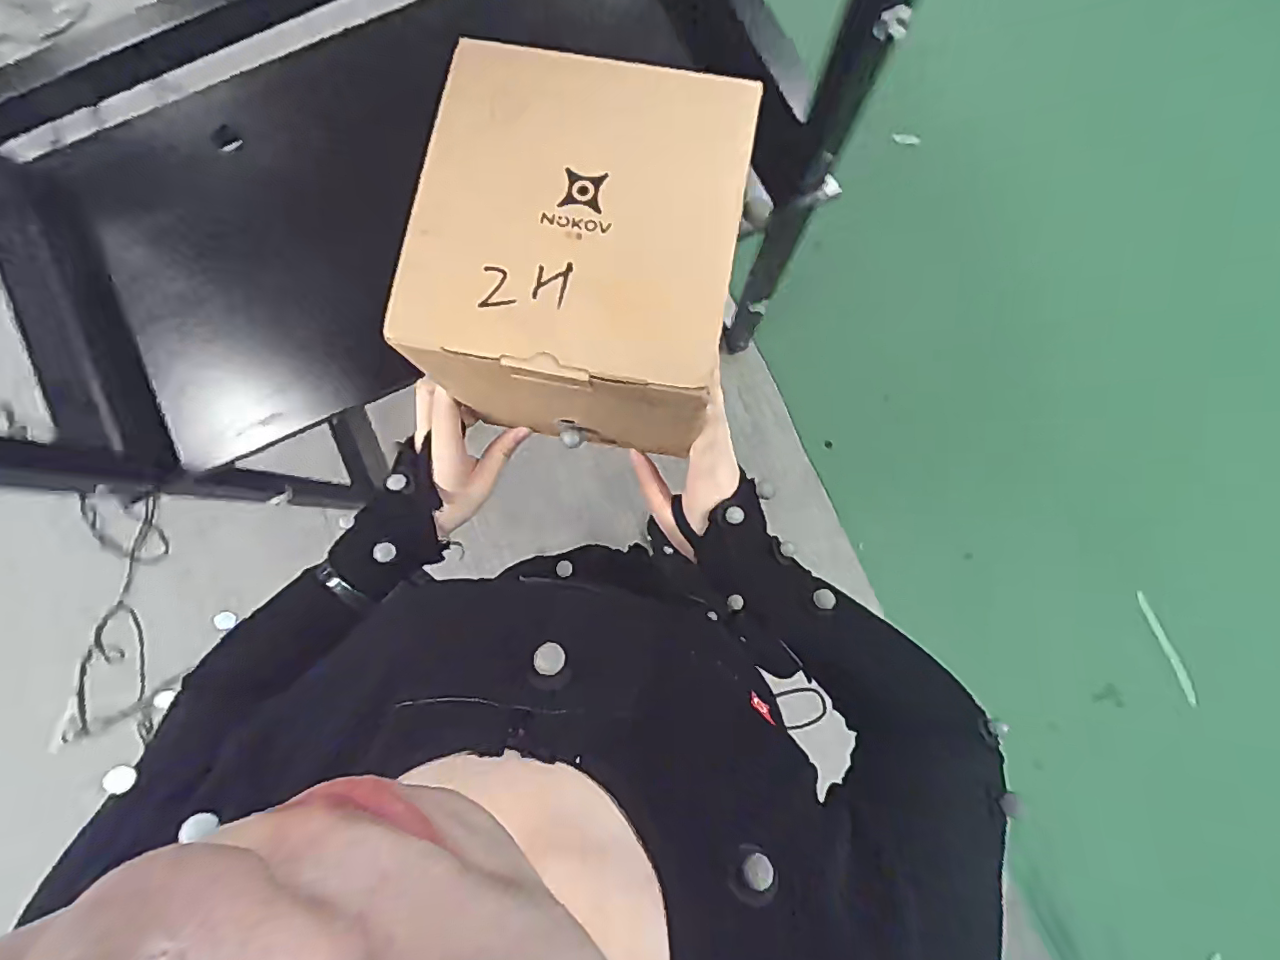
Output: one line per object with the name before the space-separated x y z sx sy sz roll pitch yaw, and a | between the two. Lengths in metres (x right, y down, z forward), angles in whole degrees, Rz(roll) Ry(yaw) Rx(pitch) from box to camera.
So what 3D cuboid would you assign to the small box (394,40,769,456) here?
small box | -0.026 -0.128 0.358 0.168 0.176 0.179 12 82 3
